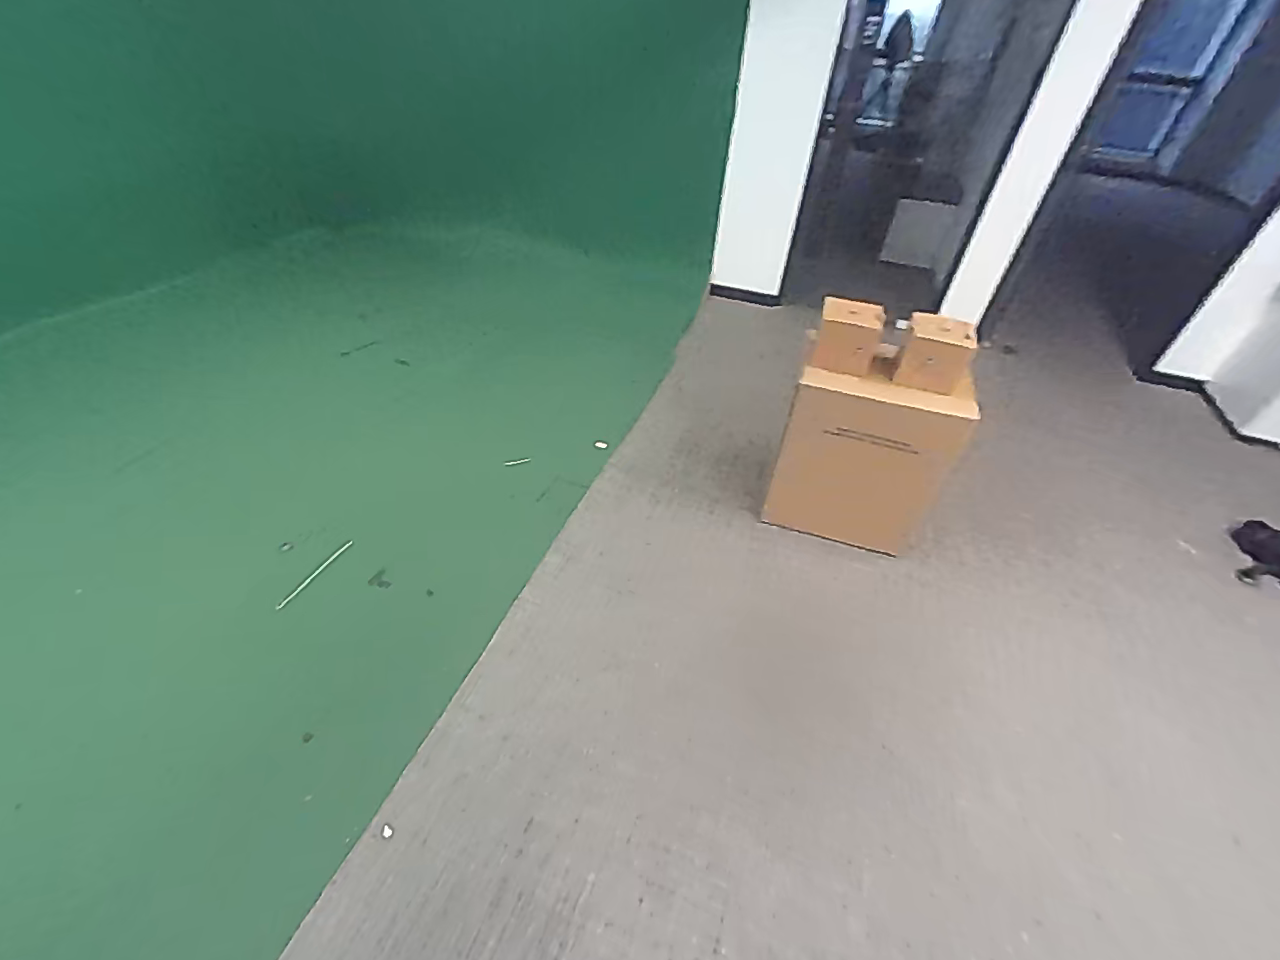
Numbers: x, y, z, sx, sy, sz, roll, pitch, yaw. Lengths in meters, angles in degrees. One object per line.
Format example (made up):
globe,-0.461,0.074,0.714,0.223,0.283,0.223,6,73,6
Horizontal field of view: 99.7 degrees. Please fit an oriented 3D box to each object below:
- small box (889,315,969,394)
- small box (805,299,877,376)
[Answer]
small box,0.895,-0.391,1.691,0.179,0.176,0.168,16,47,12
small box,0.646,-0.456,1.741,0.179,0.176,0.168,13,45,11
